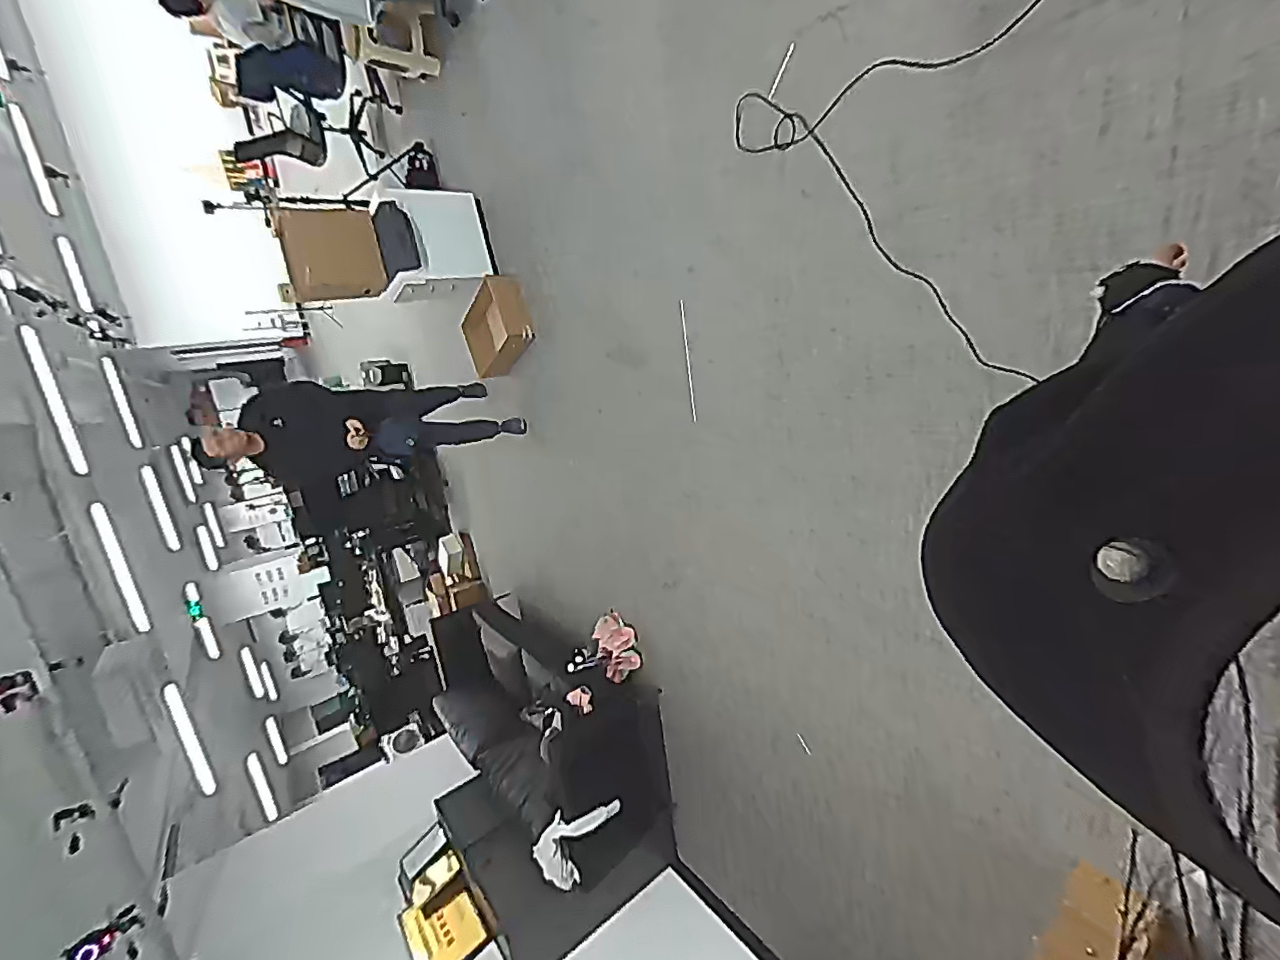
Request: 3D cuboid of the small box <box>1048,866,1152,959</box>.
[{"bbox_3d":[1.182,1.155,1.387,0.168,0.176,0.179,13,114,51],"label":"small box"}]
